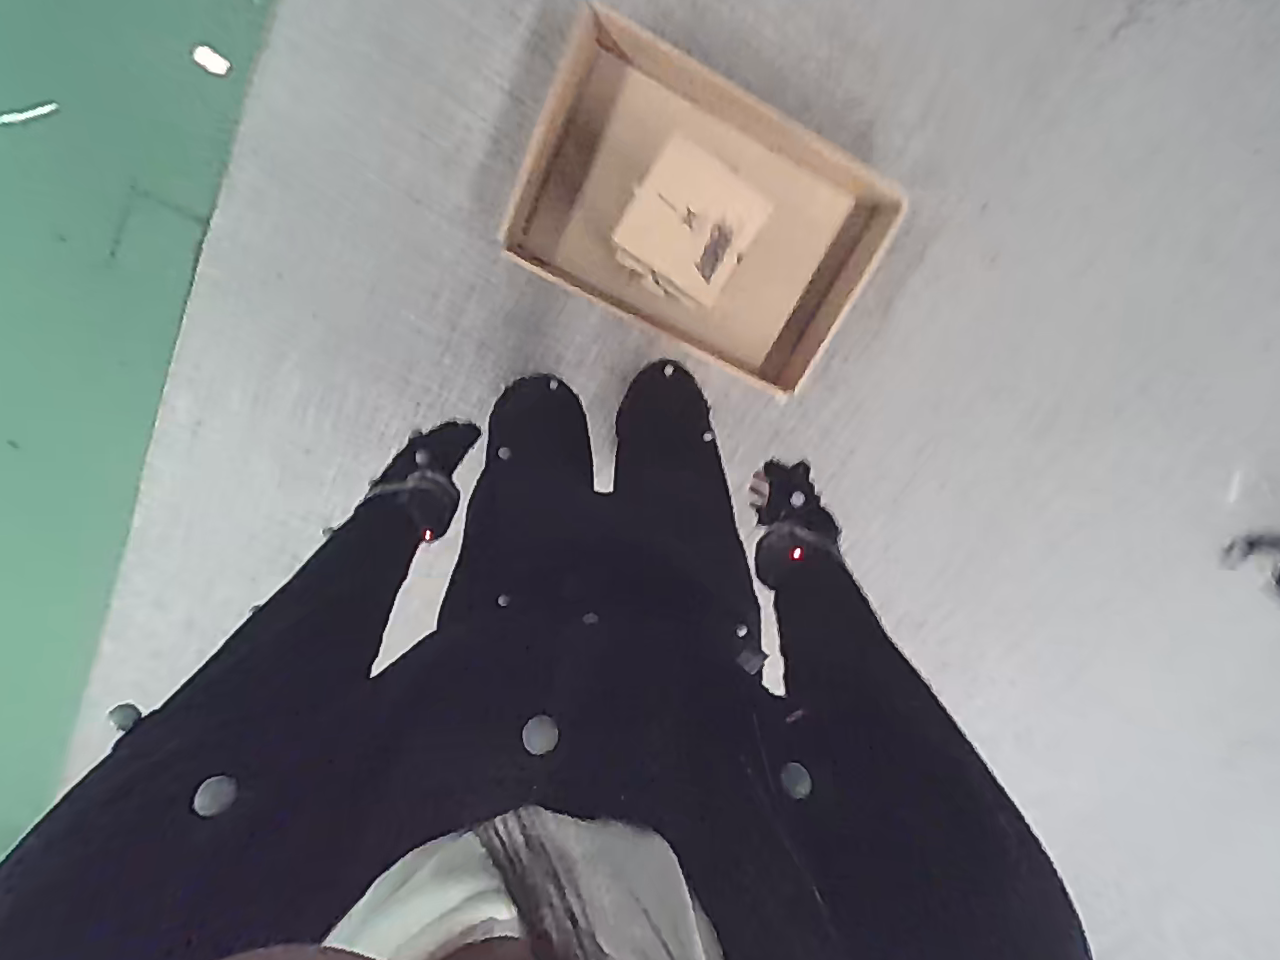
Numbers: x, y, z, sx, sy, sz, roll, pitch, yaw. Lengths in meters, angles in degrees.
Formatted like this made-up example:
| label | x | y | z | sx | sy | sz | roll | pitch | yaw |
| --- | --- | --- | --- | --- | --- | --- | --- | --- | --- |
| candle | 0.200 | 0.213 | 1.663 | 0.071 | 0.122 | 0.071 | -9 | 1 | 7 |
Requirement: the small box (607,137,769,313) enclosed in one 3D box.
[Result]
| label | x | y | z | sx | sy | sz | roll | pitch | yaw |
| --- | --- | --- | --- | --- | --- | --- | --- | --- | --- |
| small box | 0.067 | -0.385 | 0.840 | 0.179 | 0.176 | 0.168 | 34 | 106 | -12 |

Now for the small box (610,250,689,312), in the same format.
| label | x | y | z | sx | sy | sz | roll | pitch | yaw |
| --- | --- | --- | --- | --- | --- | --- | --- | --- | --- |
| small box | 0.062 | -0.434 | 0.997 | 0.168 | 0.176 | 0.179 | 31 | 107 | -13 |
